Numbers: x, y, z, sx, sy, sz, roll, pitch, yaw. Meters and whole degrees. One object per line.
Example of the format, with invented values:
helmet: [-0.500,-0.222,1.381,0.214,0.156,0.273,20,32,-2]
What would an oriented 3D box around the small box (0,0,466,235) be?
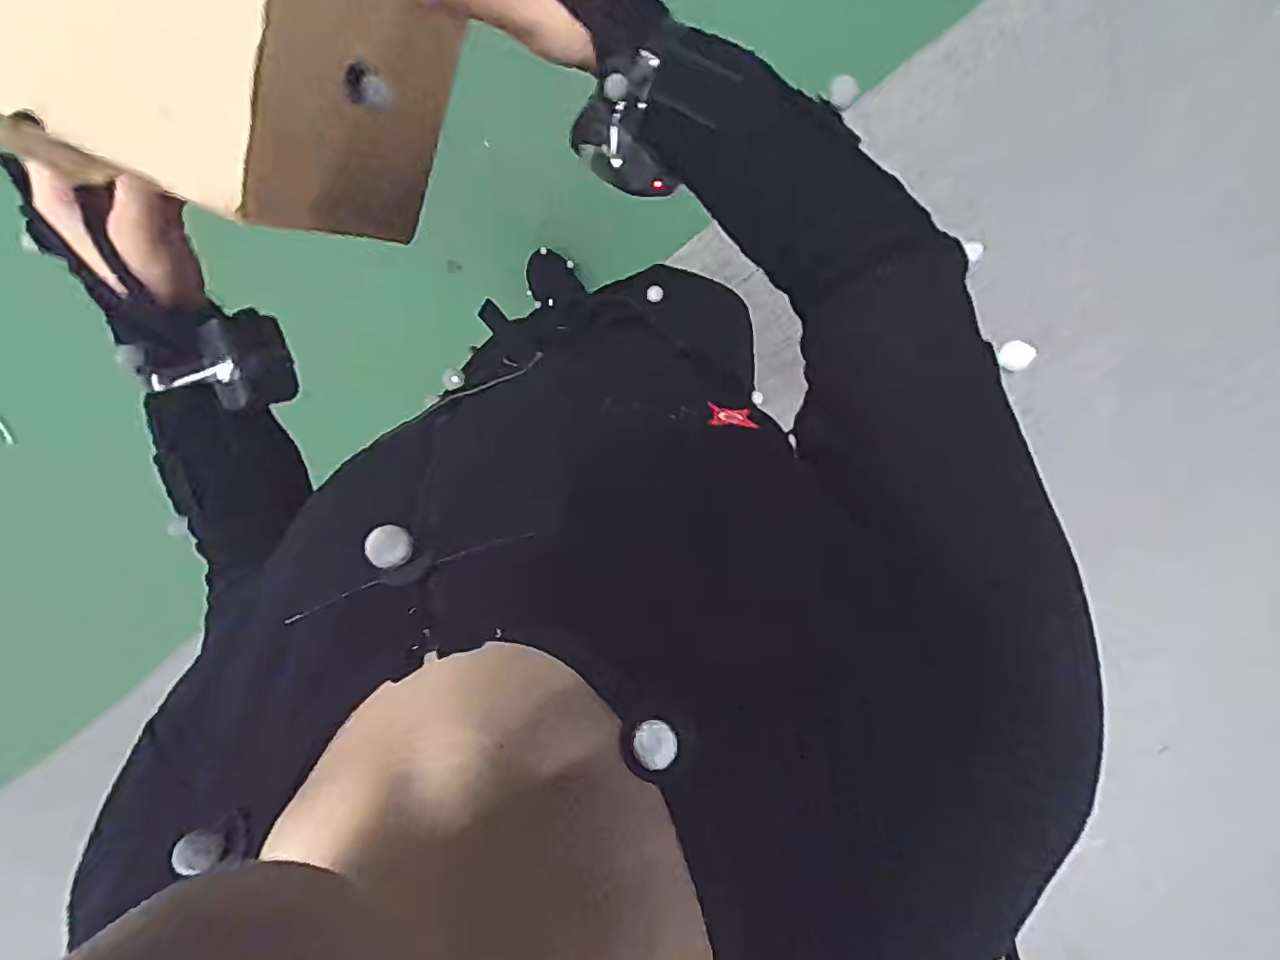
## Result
small box: [-0.205,-0.239,0.266,0.168,0.176,0.179,22,111,-7]
